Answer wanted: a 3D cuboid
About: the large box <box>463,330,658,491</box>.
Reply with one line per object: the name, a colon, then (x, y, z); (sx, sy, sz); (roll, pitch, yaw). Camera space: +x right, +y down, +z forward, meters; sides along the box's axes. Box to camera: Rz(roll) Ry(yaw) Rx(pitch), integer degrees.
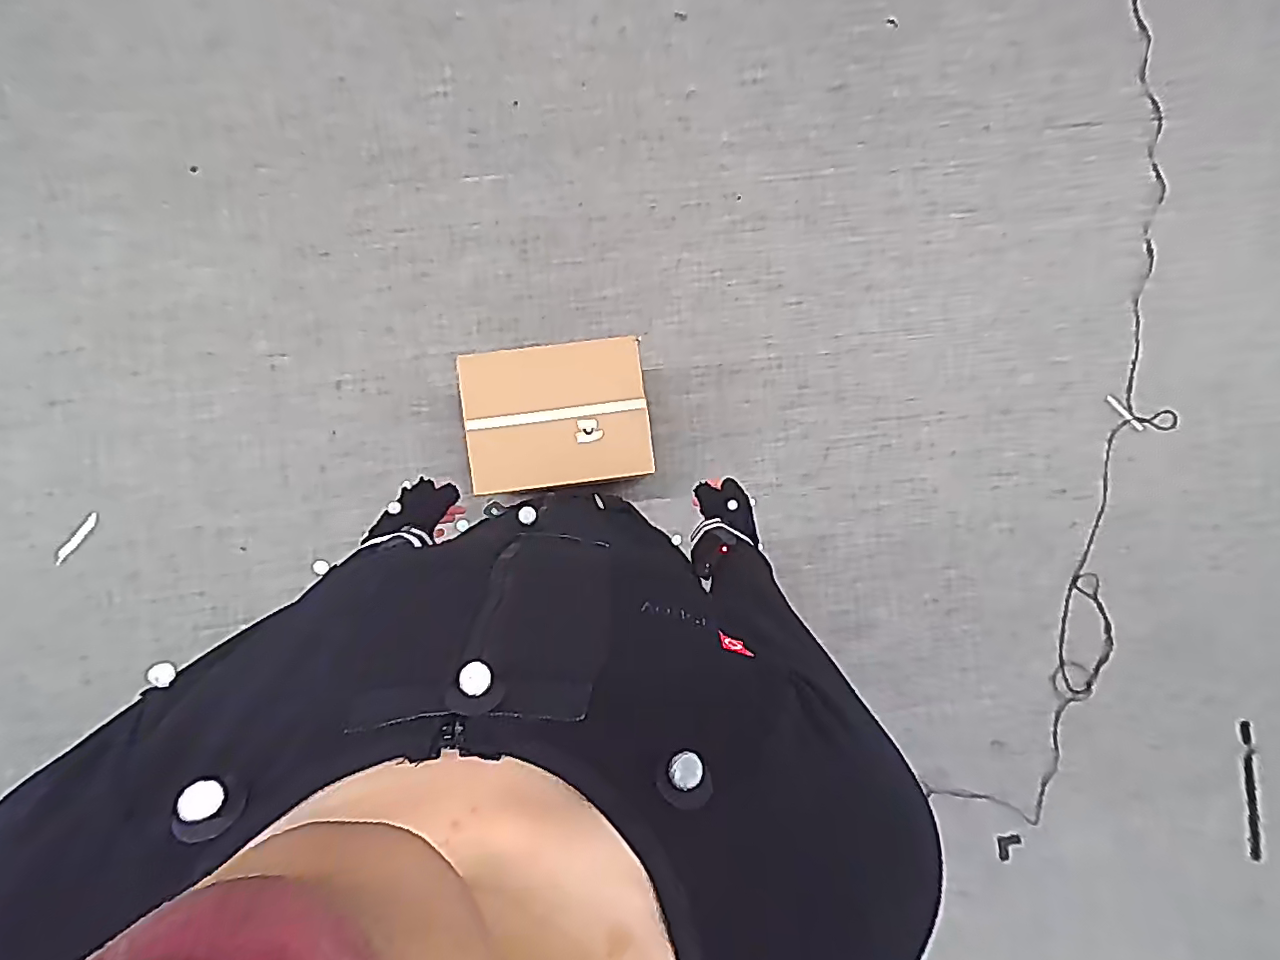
large box: (-0.184, -0.154, 1.348); (0.408, 0.320, 0.320); (-8, 90, -3)
